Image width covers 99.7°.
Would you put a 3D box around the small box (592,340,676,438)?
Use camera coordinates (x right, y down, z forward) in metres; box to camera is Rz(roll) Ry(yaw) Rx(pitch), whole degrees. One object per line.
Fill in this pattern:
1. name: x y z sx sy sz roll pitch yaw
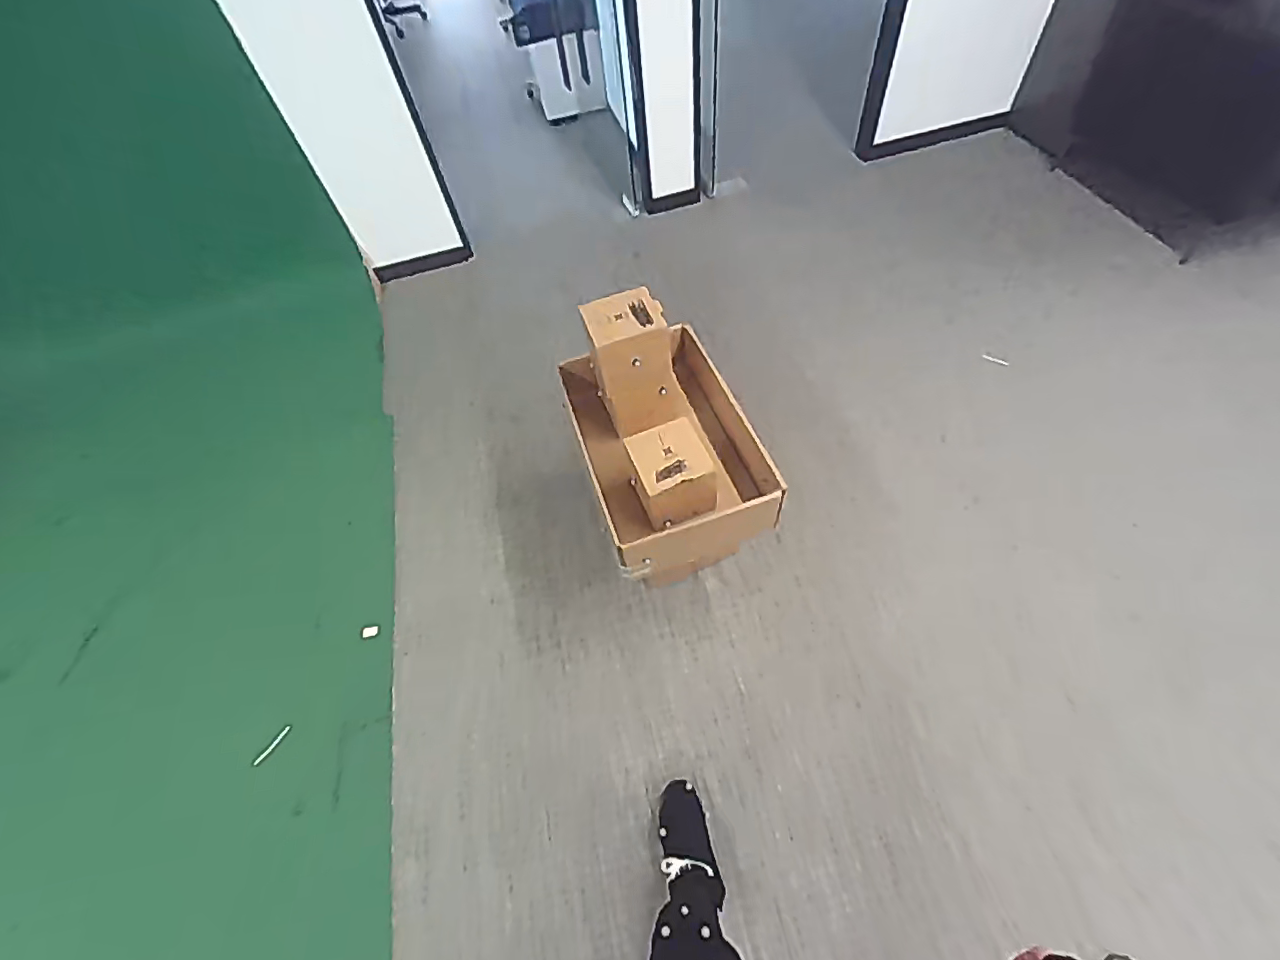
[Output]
1. small box: -0.011 -0.241 1.461 0.179 0.176 0.168 -21 55 -8
